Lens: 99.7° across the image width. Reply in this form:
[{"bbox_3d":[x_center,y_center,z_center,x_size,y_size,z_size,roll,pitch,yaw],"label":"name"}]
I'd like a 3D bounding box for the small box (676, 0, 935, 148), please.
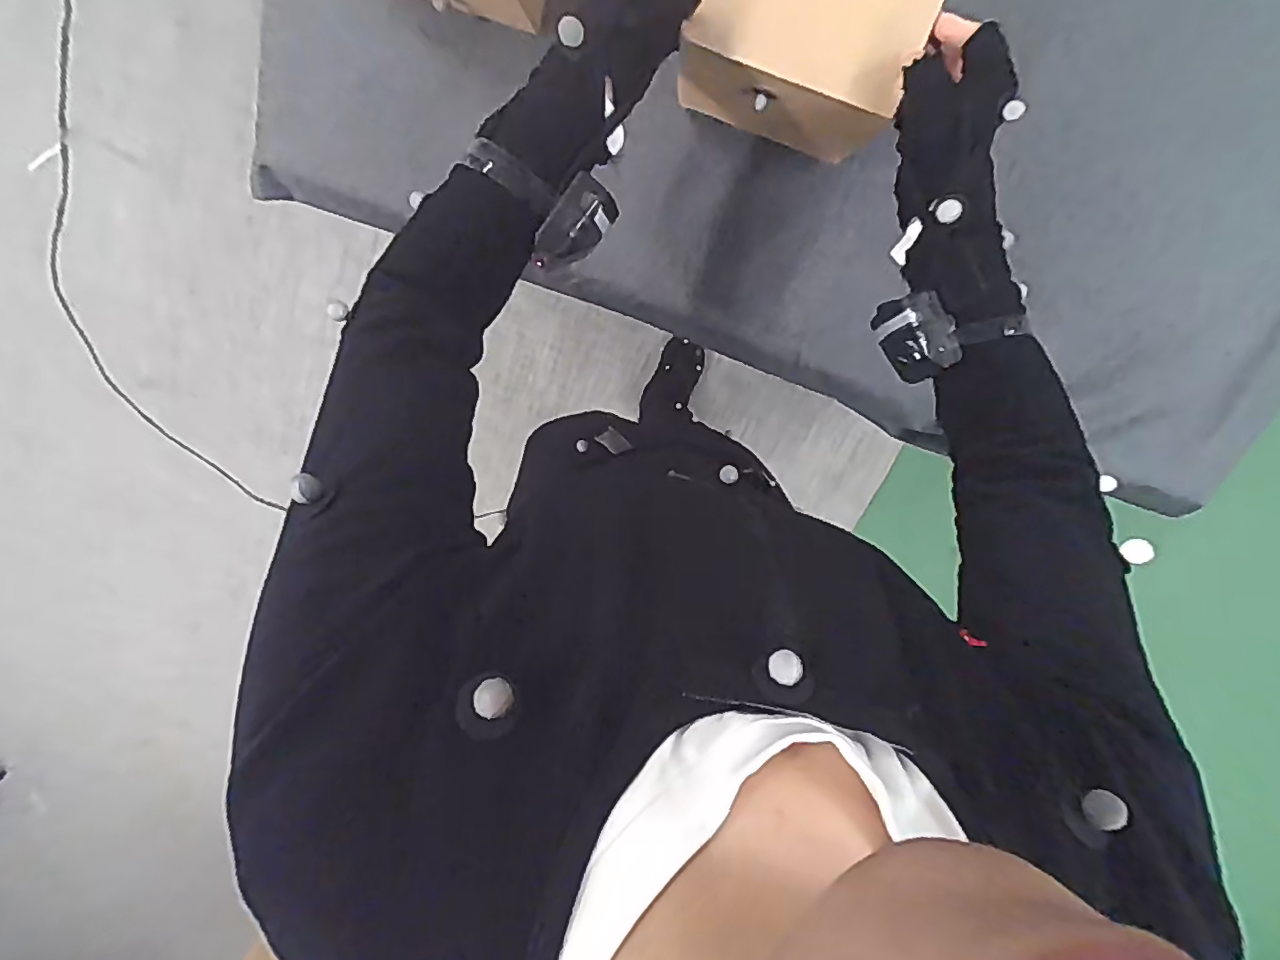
[{"bbox_3d":[0.138,-0.407,0.454,0.179,0.176,0.168,19,112,-4],"label":"small box"}]

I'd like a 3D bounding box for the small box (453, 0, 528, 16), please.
[{"bbox_3d":[-0.170,-0.527,0.441,0.179,0.176,0.168,16,111,-4],"label":"small box"}]
